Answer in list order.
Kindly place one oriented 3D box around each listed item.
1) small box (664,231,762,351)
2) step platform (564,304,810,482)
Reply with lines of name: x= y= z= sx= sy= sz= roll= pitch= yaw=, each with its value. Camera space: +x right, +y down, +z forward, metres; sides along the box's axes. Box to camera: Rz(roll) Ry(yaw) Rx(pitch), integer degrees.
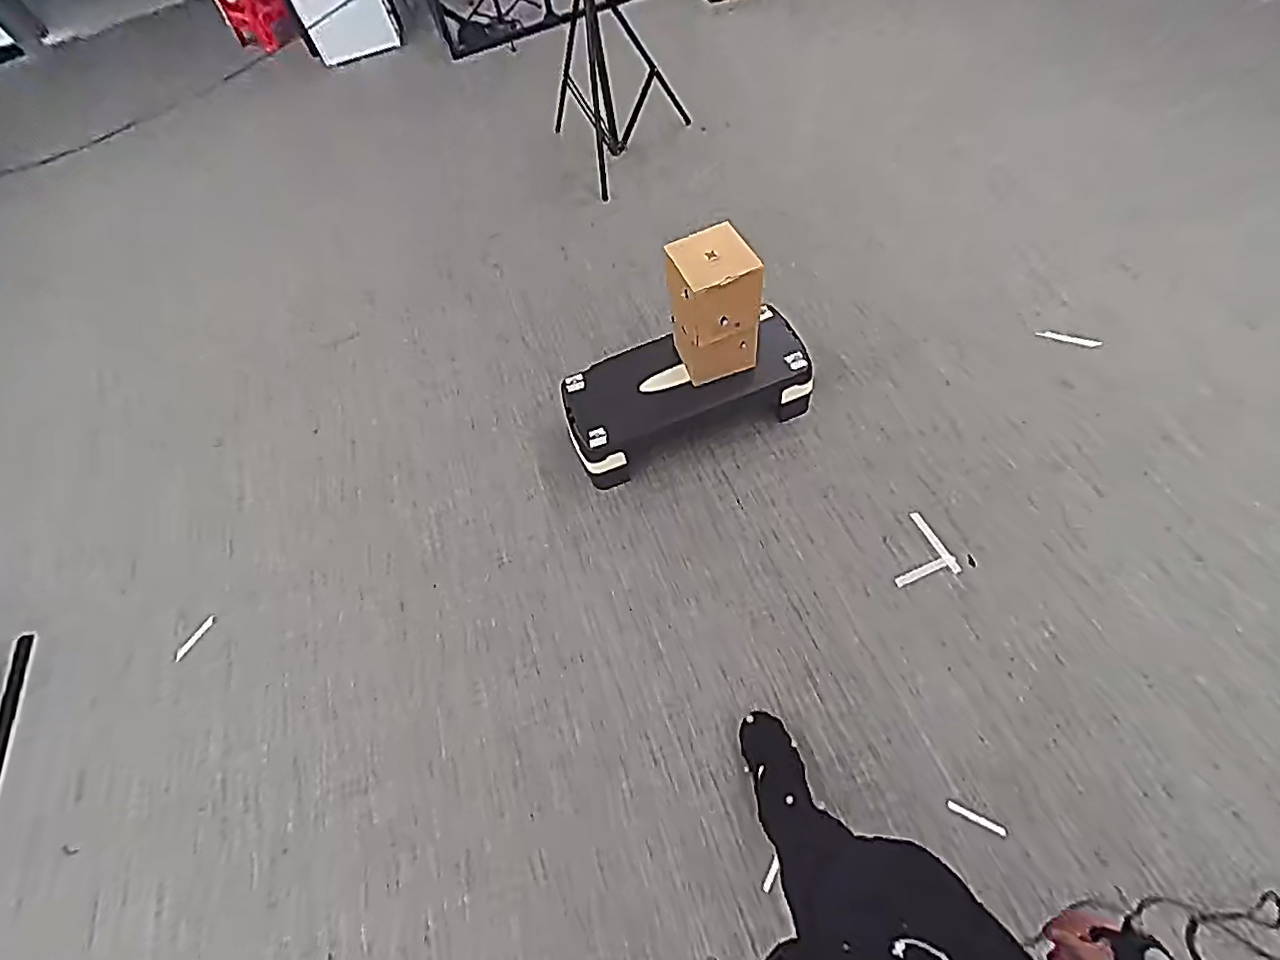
small box: x=0.167 y=-0.437 z=1.264 sx=0.168 sy=0.176 sz=0.179 roll=-23 pitch=61 yaw=-5
step platform: x=0.130 y=-0.254 z=1.556 sx=0.684 sy=0.204 sz=0.286 roll=-22 pitch=59 yaw=-3
